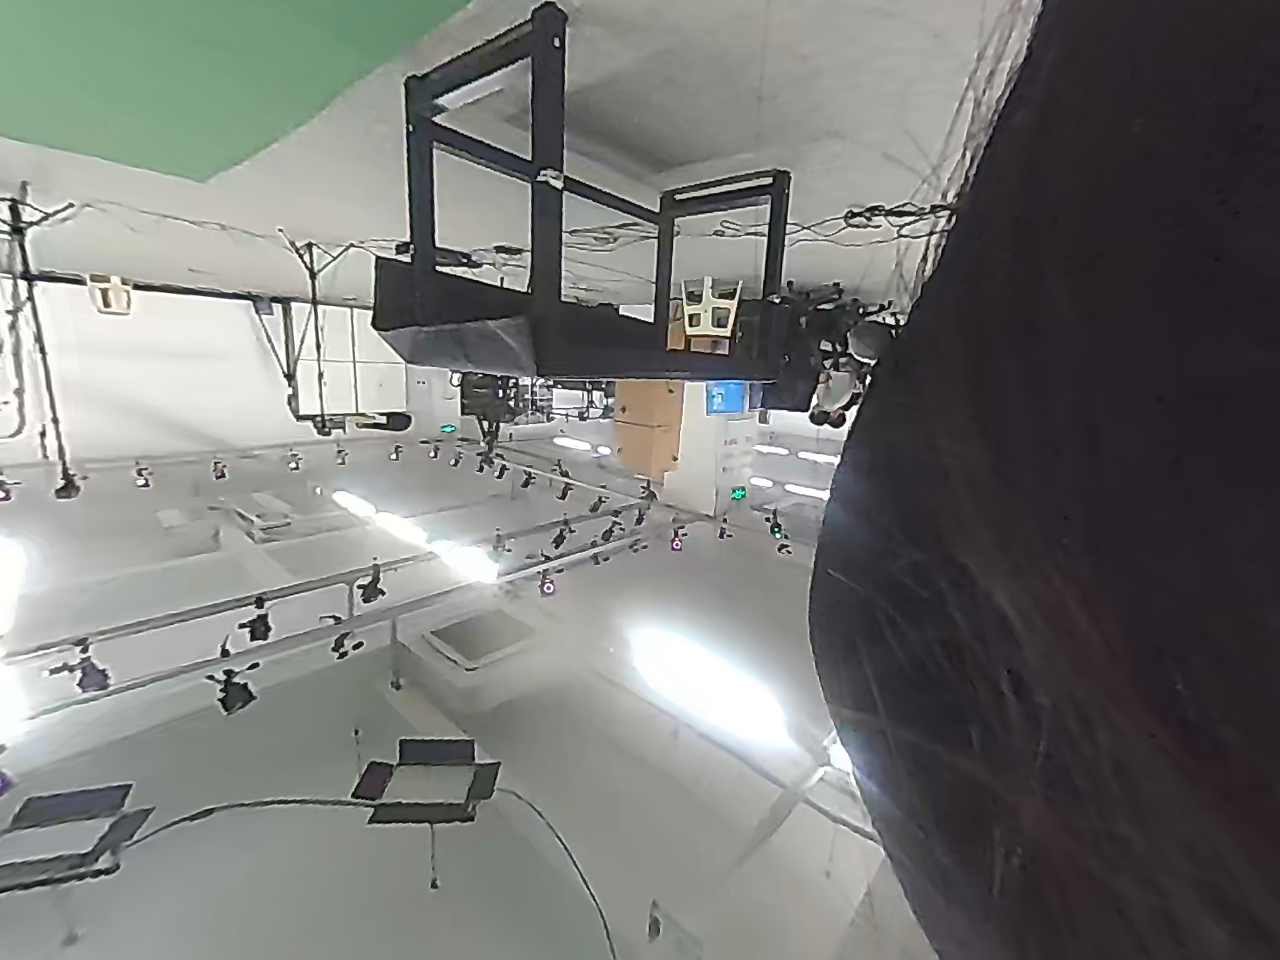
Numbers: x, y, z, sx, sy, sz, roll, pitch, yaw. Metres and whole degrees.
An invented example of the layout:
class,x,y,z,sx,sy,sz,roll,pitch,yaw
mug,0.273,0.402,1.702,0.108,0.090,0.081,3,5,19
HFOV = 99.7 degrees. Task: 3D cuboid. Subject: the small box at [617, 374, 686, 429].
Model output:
class,x,y,z,sx,sy,sz,roll,pitch,yaw
small box,0.044,-0.274,1.846,0.179,0.176,0.168,14,-163,39
